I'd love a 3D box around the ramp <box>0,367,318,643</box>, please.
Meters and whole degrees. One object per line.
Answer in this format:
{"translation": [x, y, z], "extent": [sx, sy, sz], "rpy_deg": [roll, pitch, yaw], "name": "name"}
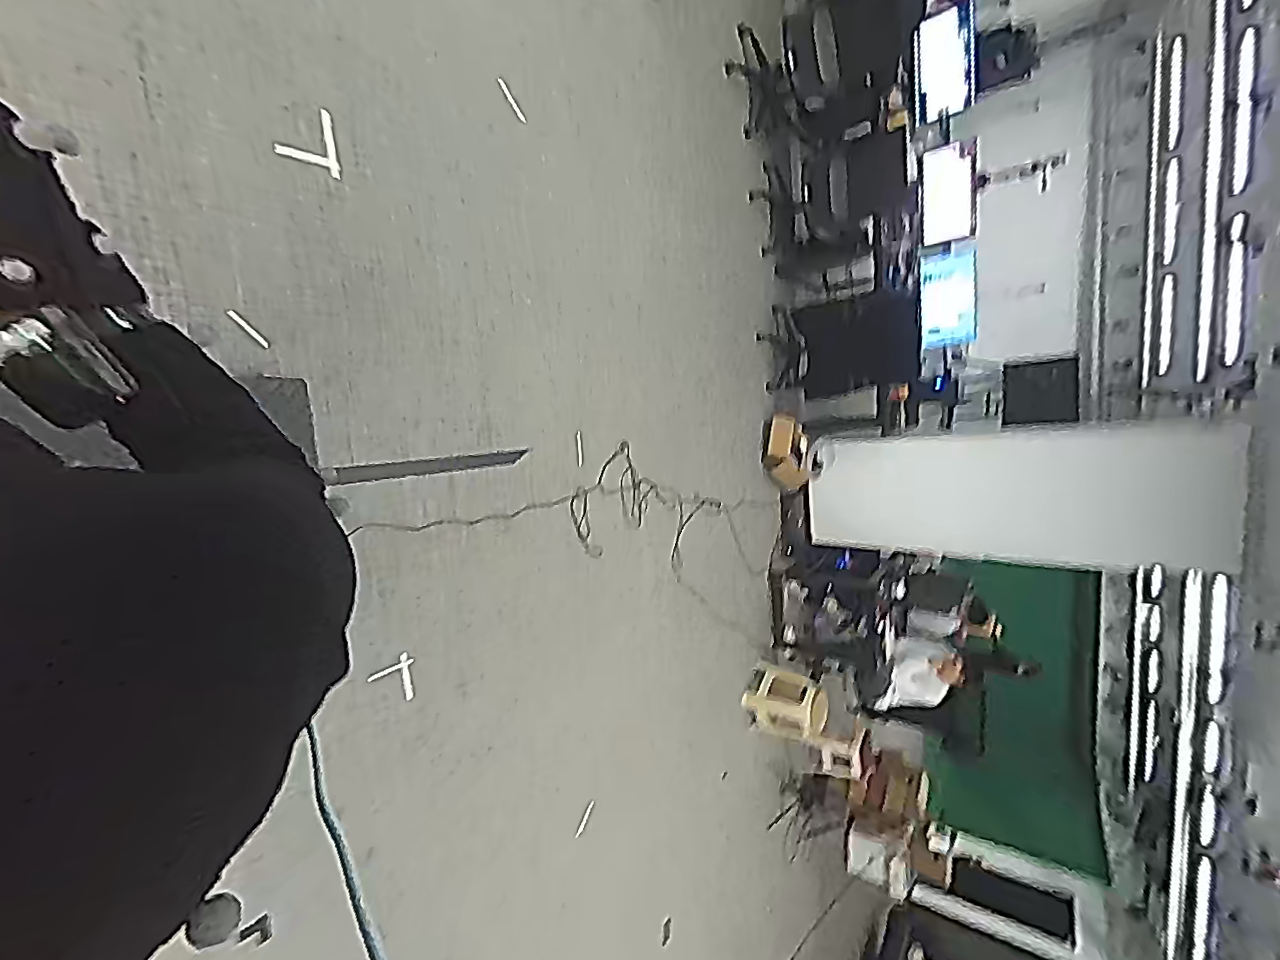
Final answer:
{"translation": [-1.118, 0.033, 1.012], "extent": [0.991, 0.206, 0.509], "rpy_deg": [-17, 103, -54], "name": "ramp"}
